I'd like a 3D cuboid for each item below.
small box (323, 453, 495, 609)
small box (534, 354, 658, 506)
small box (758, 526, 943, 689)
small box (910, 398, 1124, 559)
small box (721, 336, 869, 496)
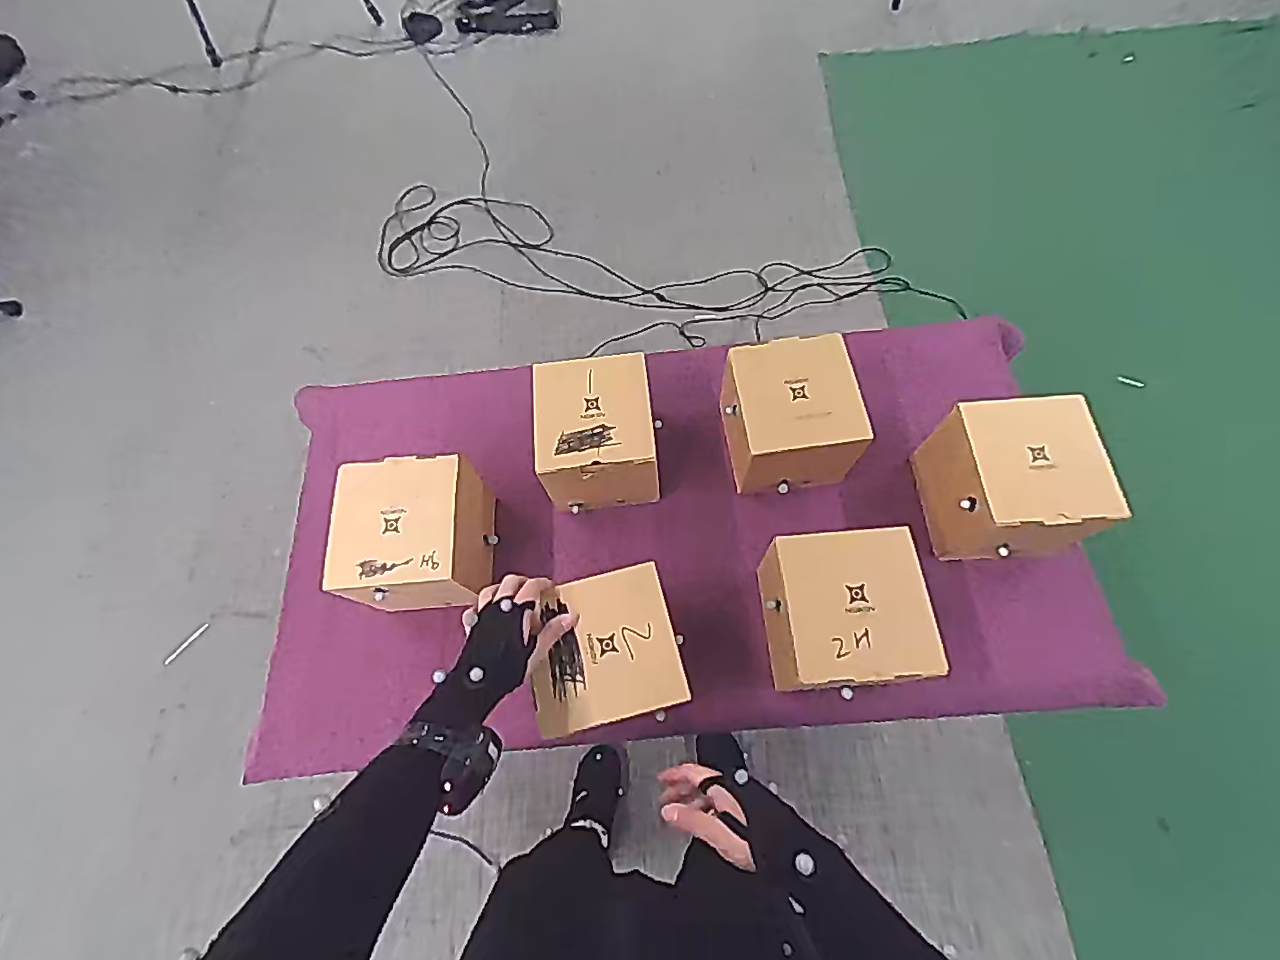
[{"bbox_3d":[-0.315,0.080,0.779,0.168,0.176,0.179,-5,67,2],"label":"small box"},{"bbox_3d":[-0.062,-0.066,0.829,0.168,0.176,0.179,-6,67,0],"label":"small box"},{"bbox_3d":[0.256,0.173,0.709,0.168,0.176,0.179,-4,66,2],"label":"small box"},{"bbox_3d":[0.512,0.004,0.769,0.168,0.176,0.179,-3,68,2],"label":"small box"},{"bbox_3d":[0.221,-0.092,0.826,0.168,0.176,0.179,-7,68,1],"label":"small box"}]
